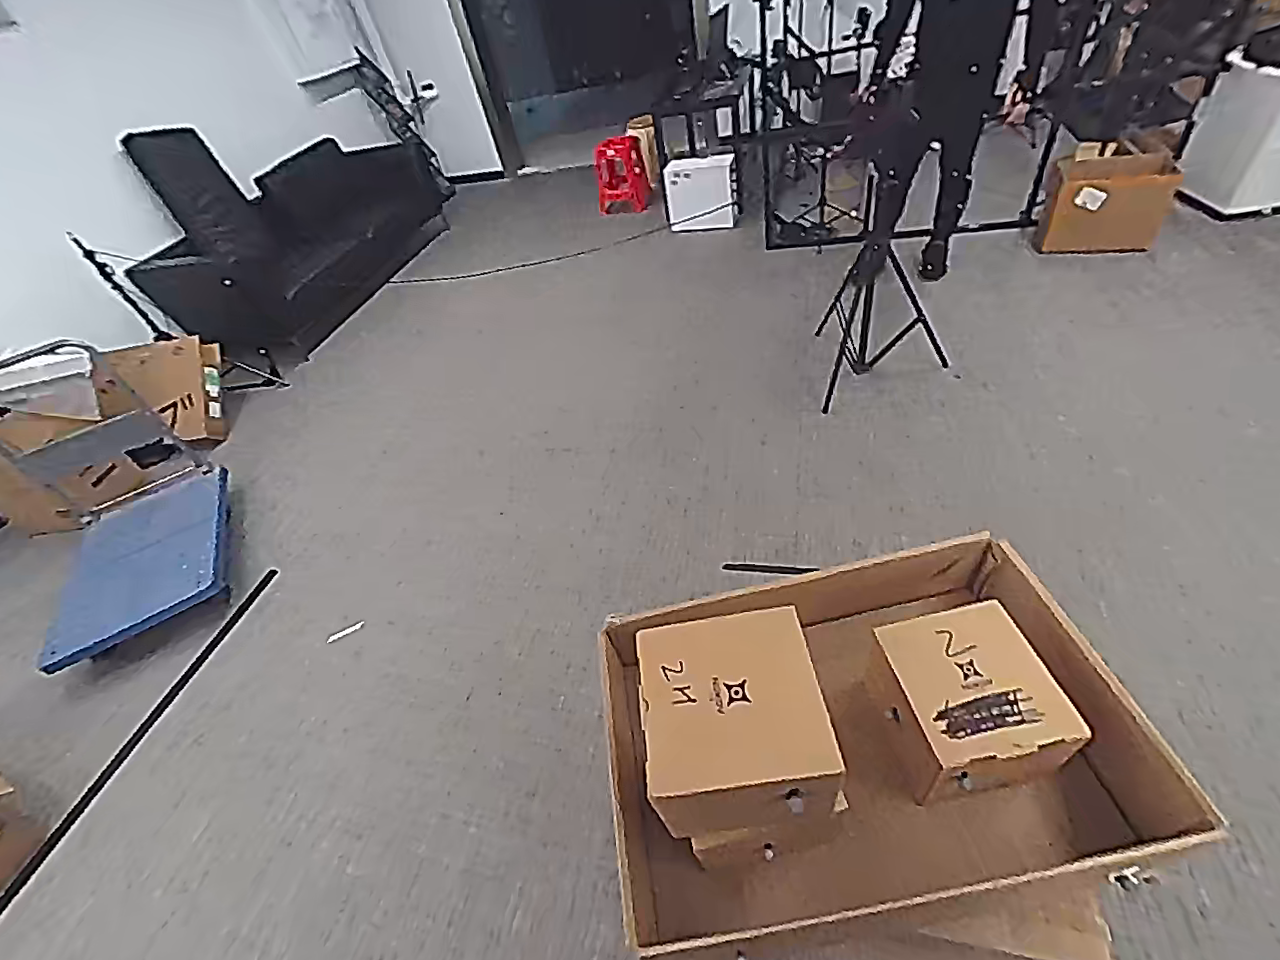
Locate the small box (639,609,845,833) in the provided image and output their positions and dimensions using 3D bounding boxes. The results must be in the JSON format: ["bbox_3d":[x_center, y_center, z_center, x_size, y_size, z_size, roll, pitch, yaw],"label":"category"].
[{"bbox_3d":[0.103,0.263,0.585,0.179,0.176,0.168,-11,45,5],"label":"small box"}]
